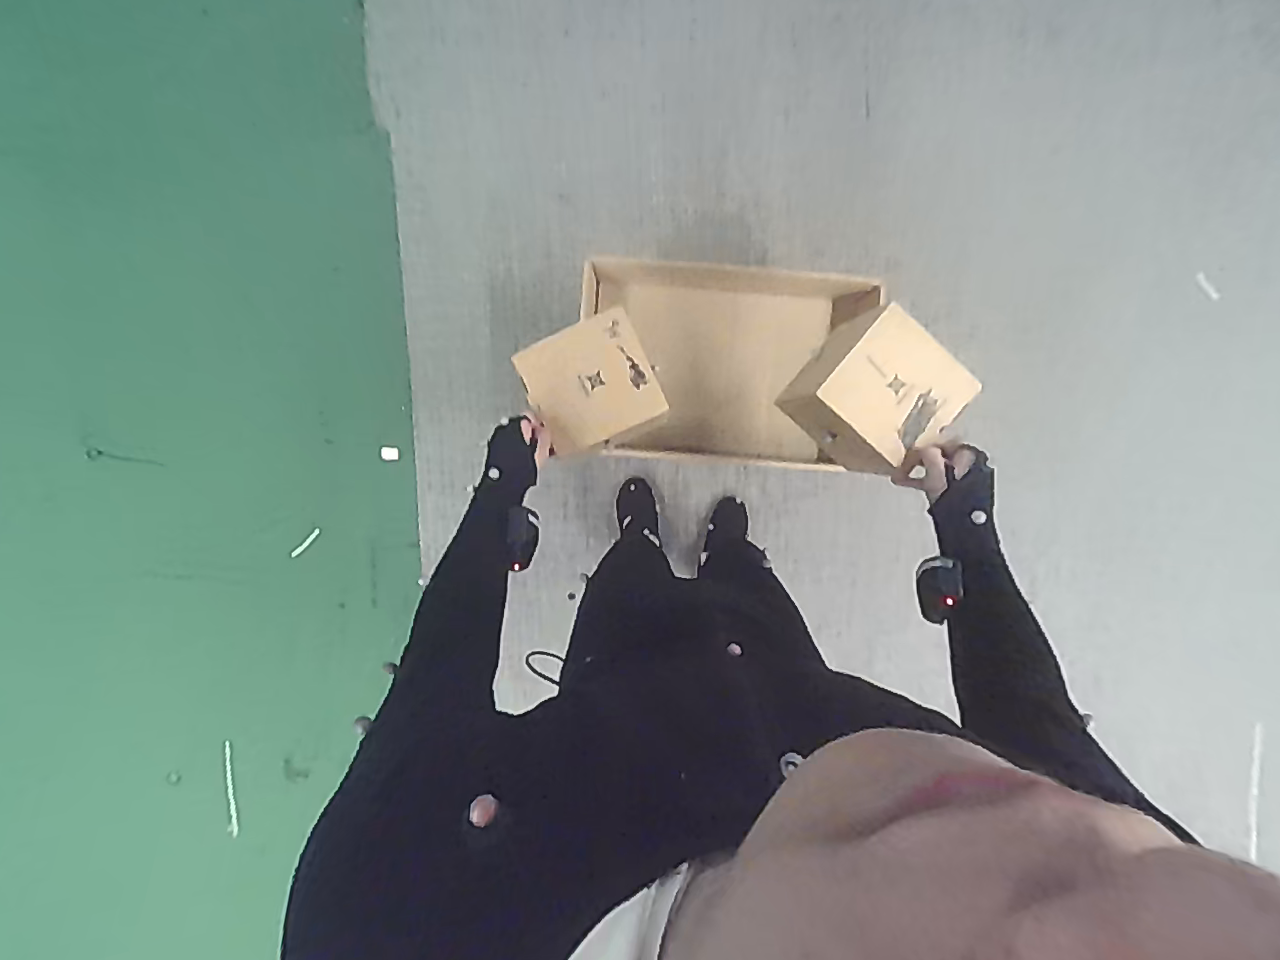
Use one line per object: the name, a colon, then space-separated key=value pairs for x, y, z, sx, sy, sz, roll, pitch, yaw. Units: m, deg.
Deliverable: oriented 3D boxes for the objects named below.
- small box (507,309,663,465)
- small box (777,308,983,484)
small box: x=-0.073 y=-0.128 z=0.825 sx=0.179 sy=0.176 sz=0.168 roll=-25 pitch=90 yaw=1
small box: x=0.335 y=-0.115 z=0.788 sx=0.179 sy=0.176 sz=0.168 roll=41 pitch=89 yaw=-6
